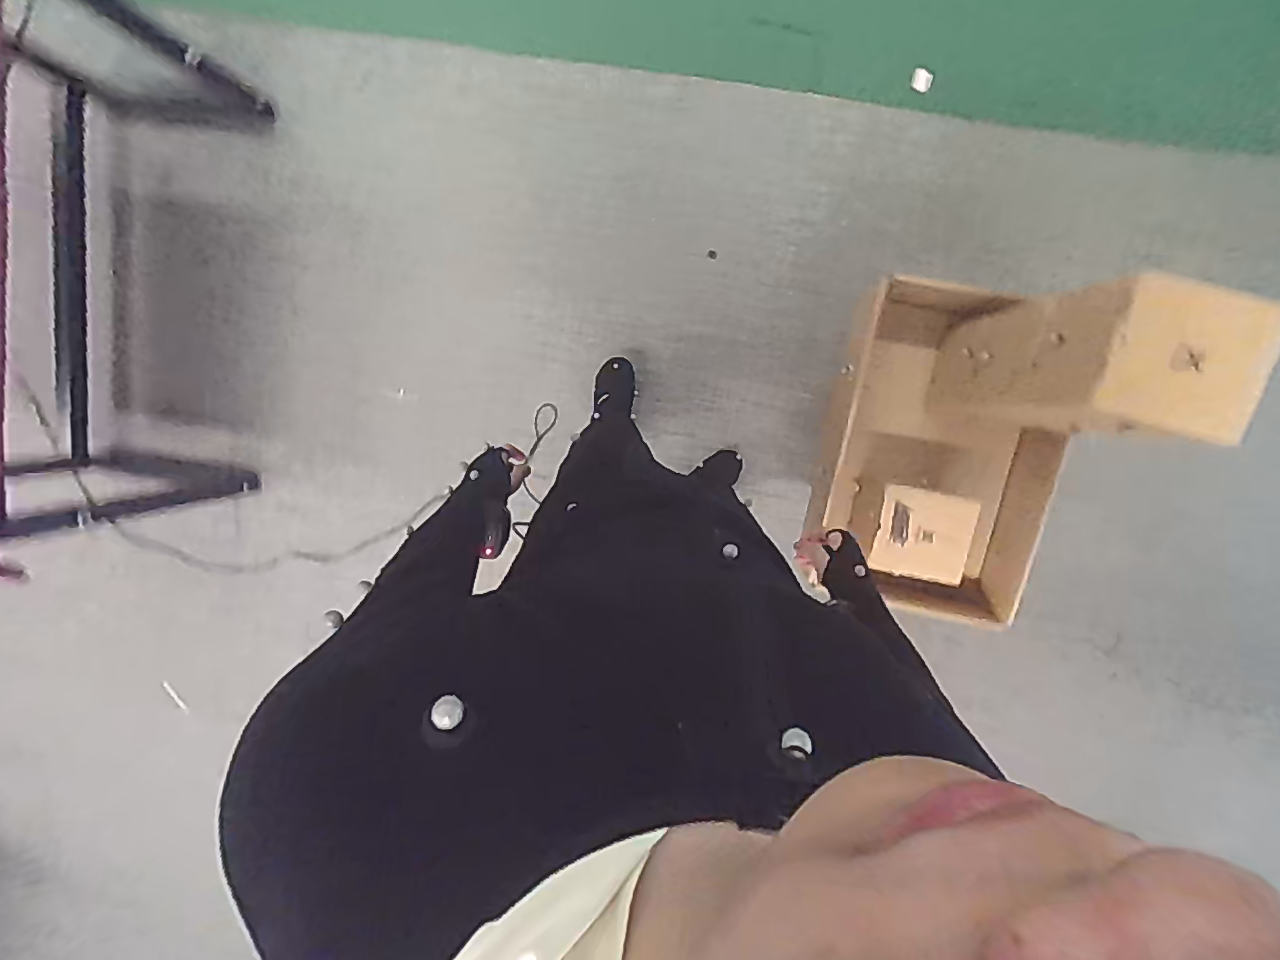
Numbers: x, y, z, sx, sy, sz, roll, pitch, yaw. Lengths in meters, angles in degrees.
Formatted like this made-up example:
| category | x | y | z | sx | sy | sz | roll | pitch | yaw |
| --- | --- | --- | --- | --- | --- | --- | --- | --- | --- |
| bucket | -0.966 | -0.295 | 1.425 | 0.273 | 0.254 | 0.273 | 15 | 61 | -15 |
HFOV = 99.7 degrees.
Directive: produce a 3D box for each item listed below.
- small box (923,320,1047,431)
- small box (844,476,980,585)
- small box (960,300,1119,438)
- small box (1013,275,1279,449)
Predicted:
| category | x | y | z | sx | sy | sz | roll | pitch | yaw |
| --- | --- | --- | --- | --- | --- | --- | --- | --- | --- |
| small box | 0.683 | -0.195 | 1.036 | 0.179 | 0.176 | 0.168 | 13 | 97 | 4 |
| small box | 0.532 | 0.092 | 1.086 | 0.179 | 0.176 | 0.168 | 11 | 99 | 3 |
| small box | 0.668 | -0.174 | 0.875 | 0.179 | 0.176 | 0.168 | 16 | 98 | 3 |
| small box | 0.652 | -0.150 | 0.715 | 0.179 | 0.176 | 0.168 | 17 | 99 | 4 |
